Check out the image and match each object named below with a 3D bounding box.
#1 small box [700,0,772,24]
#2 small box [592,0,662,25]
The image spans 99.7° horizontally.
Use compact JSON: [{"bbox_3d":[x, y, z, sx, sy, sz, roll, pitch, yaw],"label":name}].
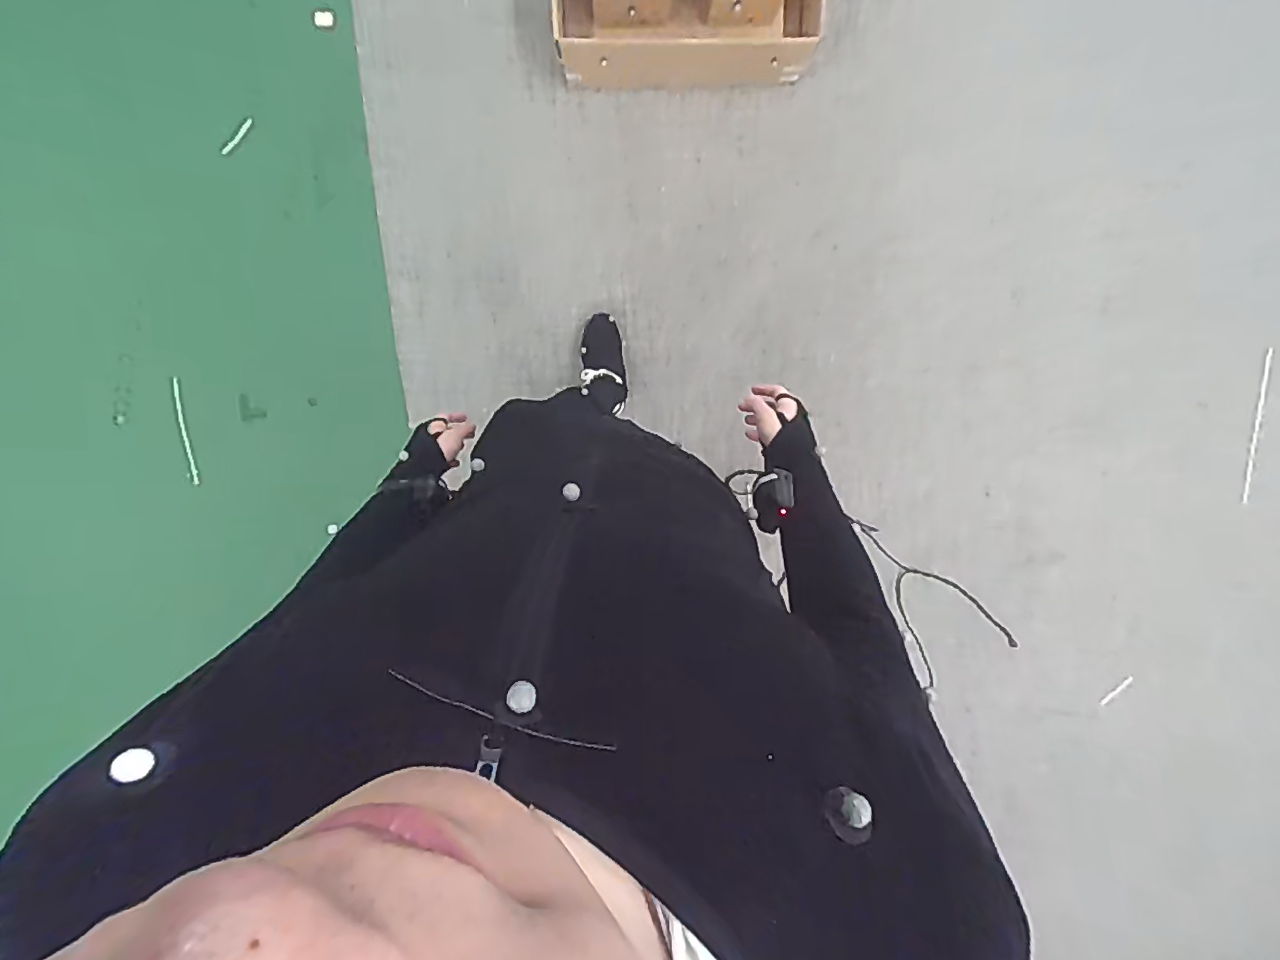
[{"bbox_3d":[0.230,-1.197,1.248,0.168,0.176,0.179,-2,102,-1],"label":"small box"},{"bbox_3d":[-0.032,-1.187,1.241,0.168,0.176,0.179,-4,103,-2],"label":"small box"}]
